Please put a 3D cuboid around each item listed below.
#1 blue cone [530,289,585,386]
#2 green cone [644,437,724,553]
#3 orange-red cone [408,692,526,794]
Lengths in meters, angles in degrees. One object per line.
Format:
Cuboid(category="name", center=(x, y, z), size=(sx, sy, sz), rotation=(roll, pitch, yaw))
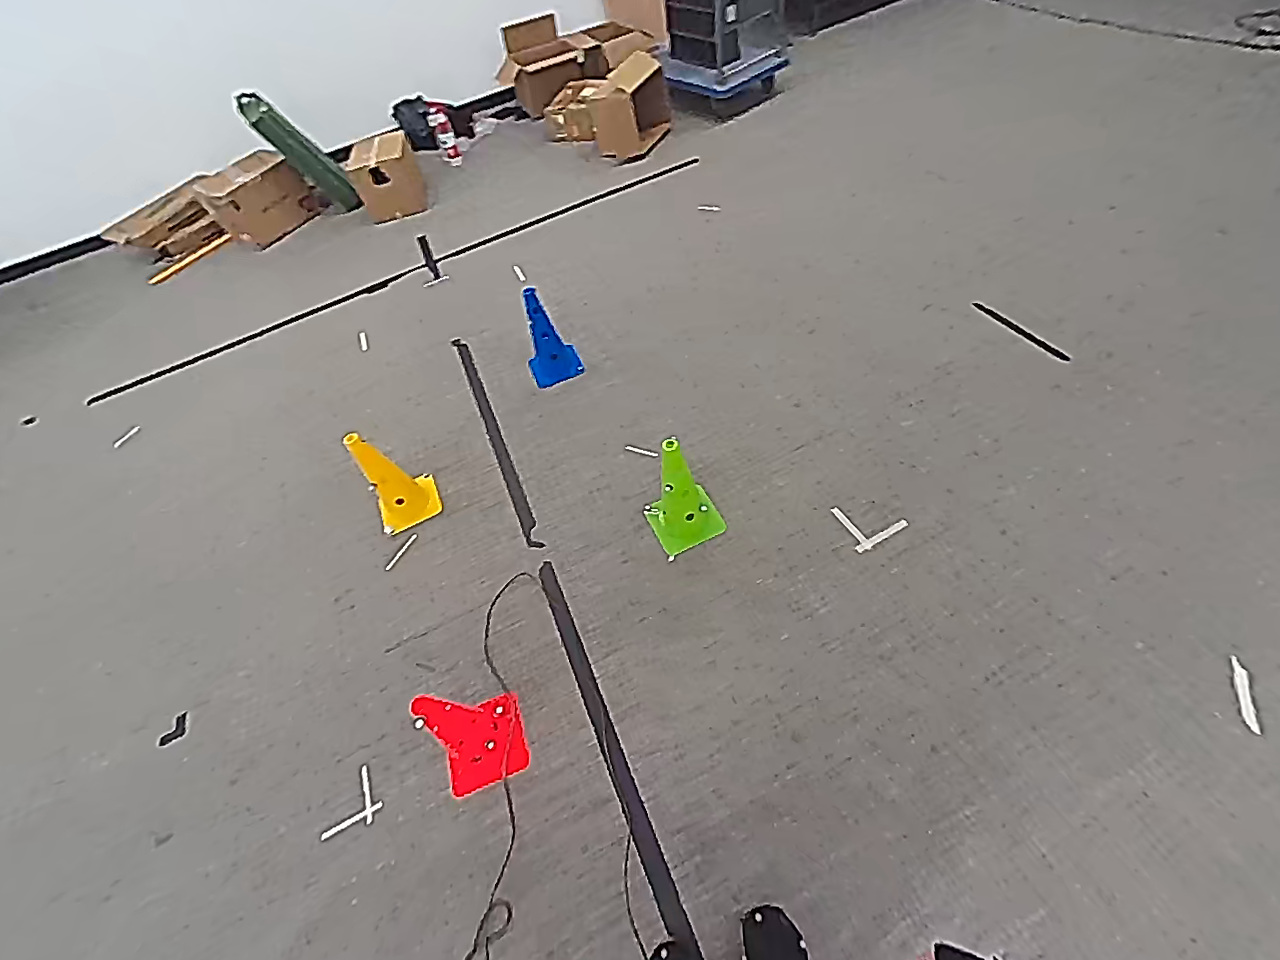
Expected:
Cuboid(category="blue cone", center=(-0.358, -0.560, 2.073), size=(0.192, 0.380, 0.193), rotation=(-21, 53, -6))
Cuboid(category="green cone", center=(0.107, 0.014, 1.526), size=(0.202, 0.368, 0.200), rotation=(-24, 53, -8))
Cuboid(category="orange-red cone", center=(-0.424, 0.557, 1.232), size=(0.199, 0.360, 0.198), rotation=(-22, 51, -4))
